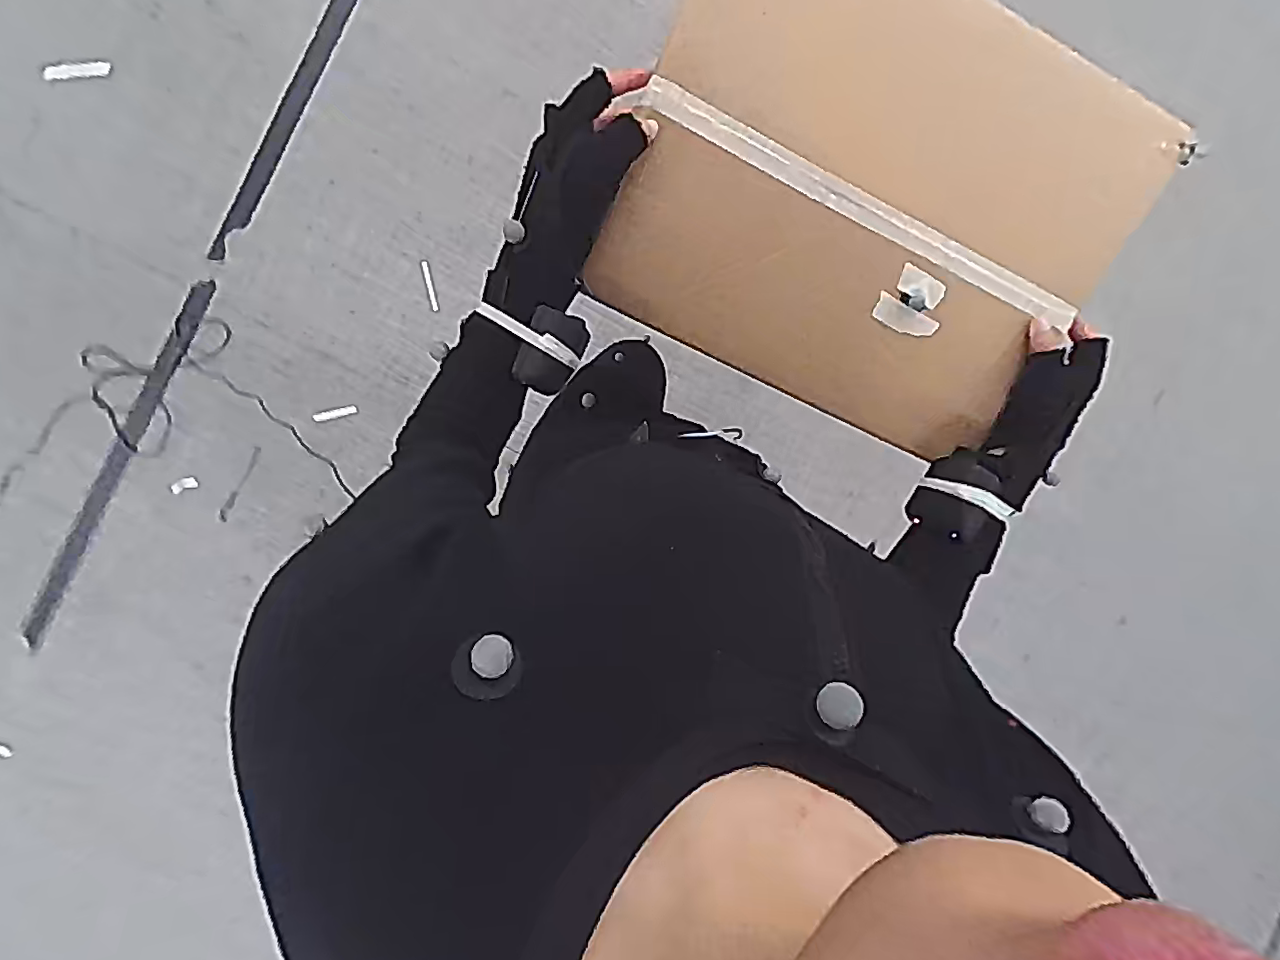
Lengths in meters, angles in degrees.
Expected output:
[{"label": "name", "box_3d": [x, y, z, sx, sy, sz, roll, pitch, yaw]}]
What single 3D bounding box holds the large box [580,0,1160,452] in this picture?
[{"label": "large box", "box_3d": [0.182, -0.281, 0.597, 0.408, 0.320, 0.320, 23, 109, -10]}]
